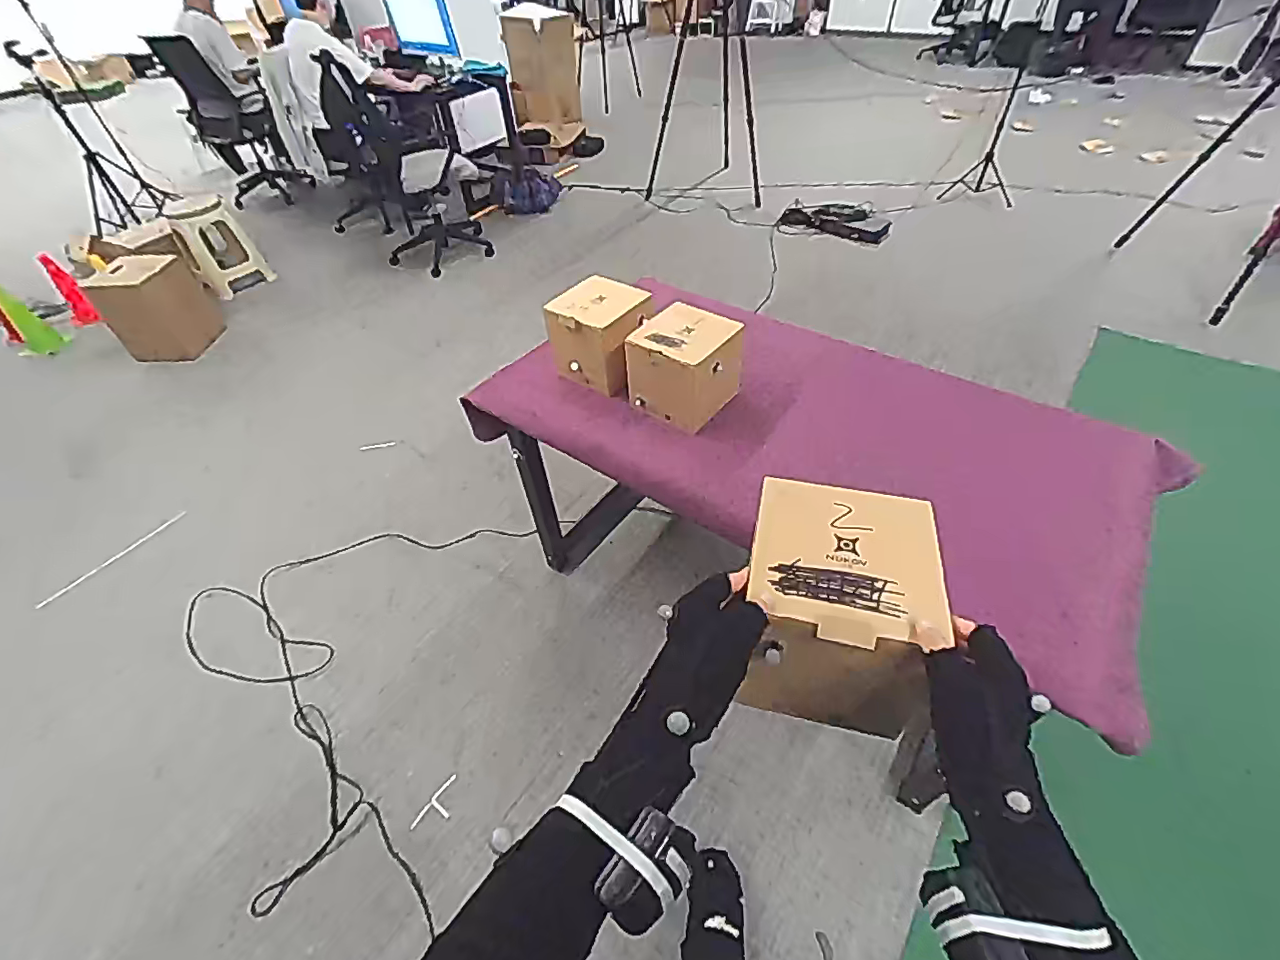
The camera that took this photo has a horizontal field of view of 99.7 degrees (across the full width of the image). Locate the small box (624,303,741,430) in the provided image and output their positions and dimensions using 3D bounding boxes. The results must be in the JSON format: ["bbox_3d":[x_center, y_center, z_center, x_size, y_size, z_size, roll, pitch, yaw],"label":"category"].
[{"bbox_3d":[0.090,-0.230,1.106,0.168,0.176,0.179,29,54,27],"label":"small box"}]

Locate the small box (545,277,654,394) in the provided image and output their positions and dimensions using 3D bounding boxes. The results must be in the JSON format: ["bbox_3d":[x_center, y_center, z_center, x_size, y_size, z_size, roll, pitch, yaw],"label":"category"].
[{"bbox_3d":[-0.084,-0.322,1.205,0.168,0.176,0.179,27,54,27],"label":"small box"}]
